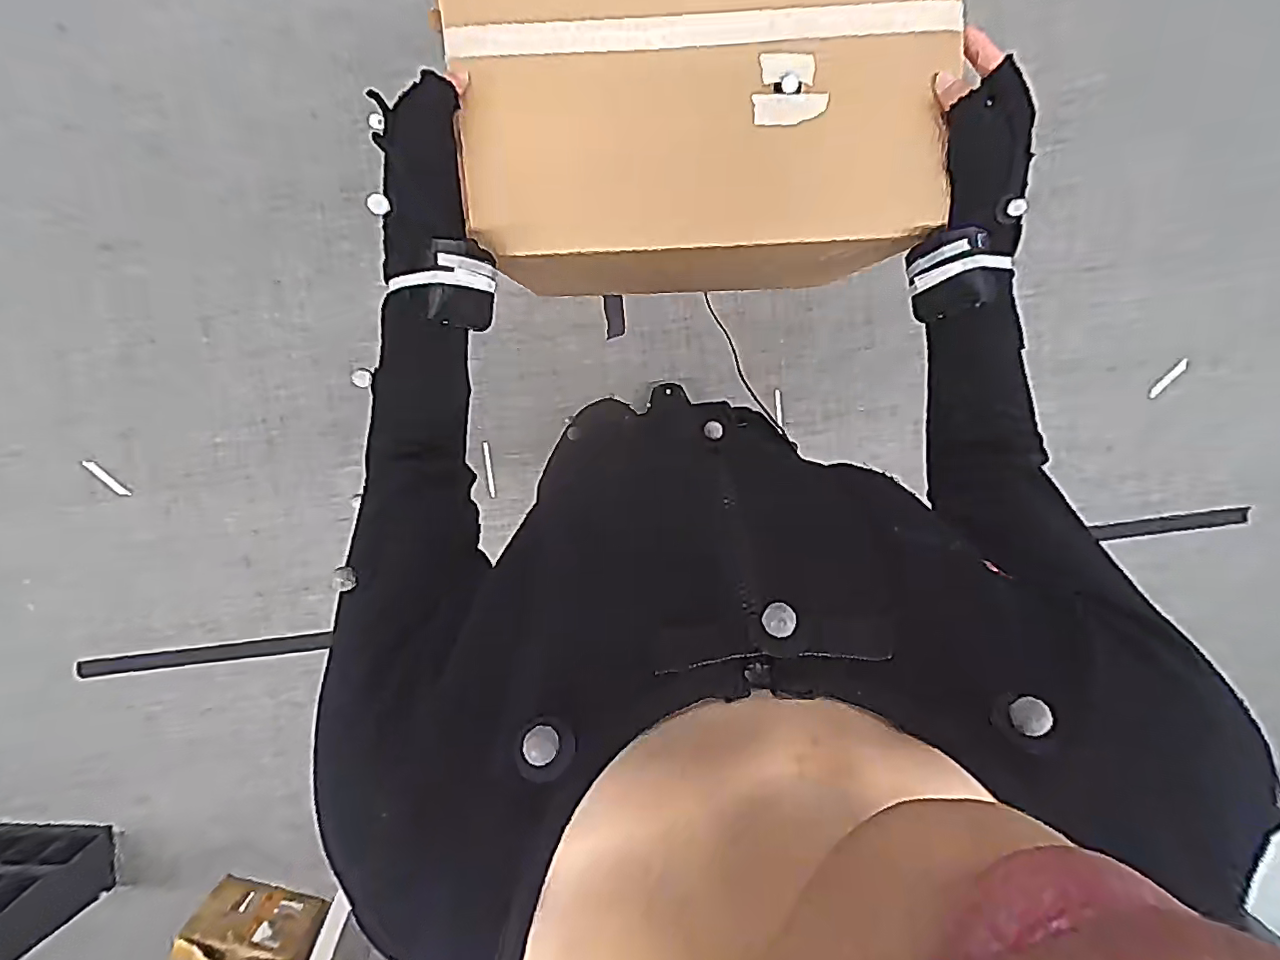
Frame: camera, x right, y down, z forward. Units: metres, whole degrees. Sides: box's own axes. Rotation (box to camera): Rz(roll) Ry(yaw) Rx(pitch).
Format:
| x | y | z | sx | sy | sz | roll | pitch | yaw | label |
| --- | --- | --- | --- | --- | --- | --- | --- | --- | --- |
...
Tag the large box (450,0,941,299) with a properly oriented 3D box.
| x | y | z | sx | sy | sz | roll | pitch | yaw | label |
| --- | --- | --- | --- | --- | --- | --- | --- | --- | --- |
| 0.044 | -0.387 | 0.588 | 0.408 | 0.320 | 0.320 | -3 | 103 | 0 | large box |
